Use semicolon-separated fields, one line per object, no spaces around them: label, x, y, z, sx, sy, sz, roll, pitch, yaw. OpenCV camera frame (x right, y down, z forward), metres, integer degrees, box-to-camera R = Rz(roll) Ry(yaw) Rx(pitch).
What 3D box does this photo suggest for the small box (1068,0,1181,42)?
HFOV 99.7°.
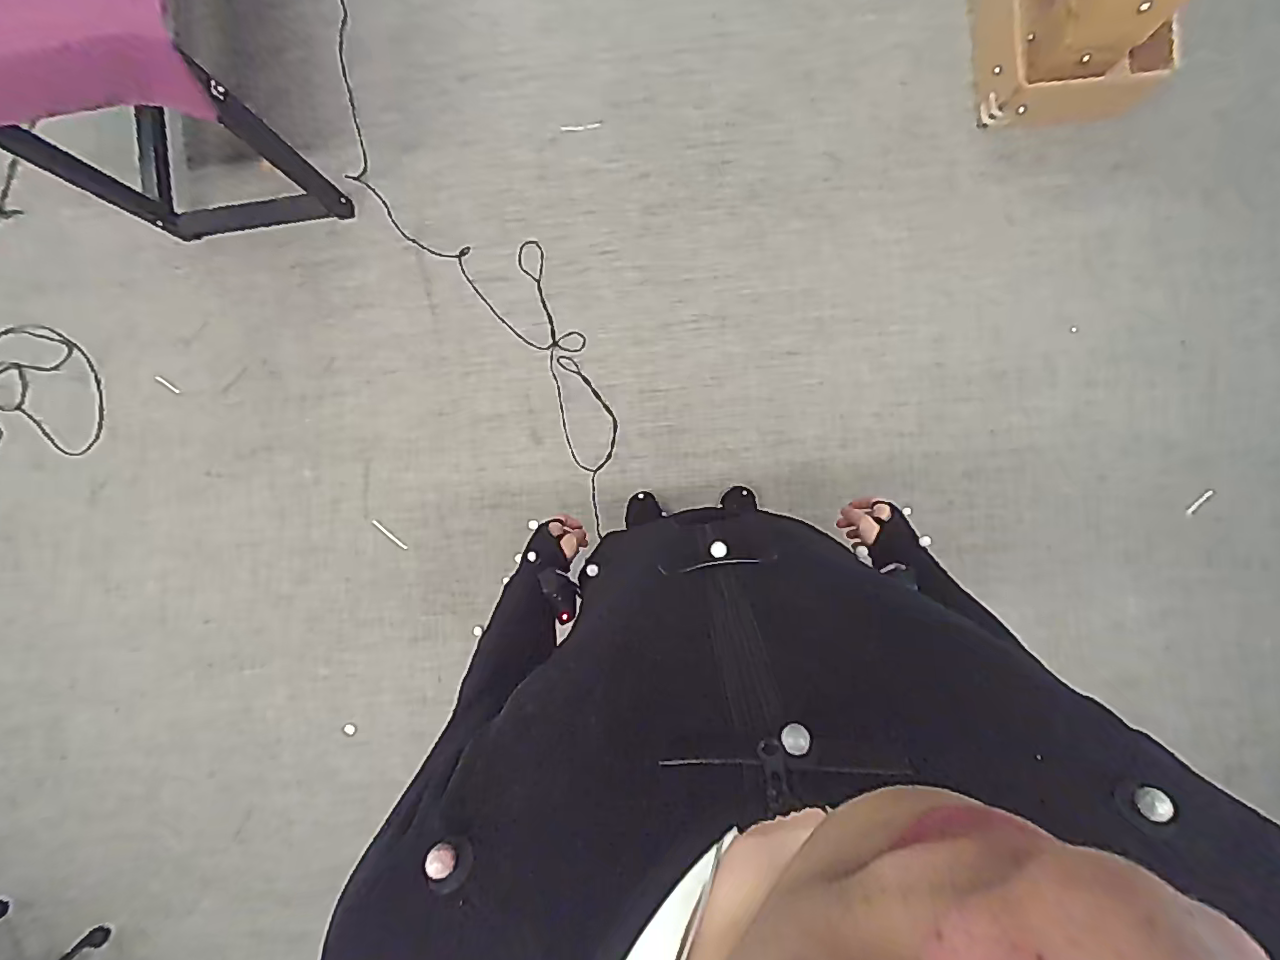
small box;1.172;-1.189;1.285;0.179;0.176;0.168;1;91;5
